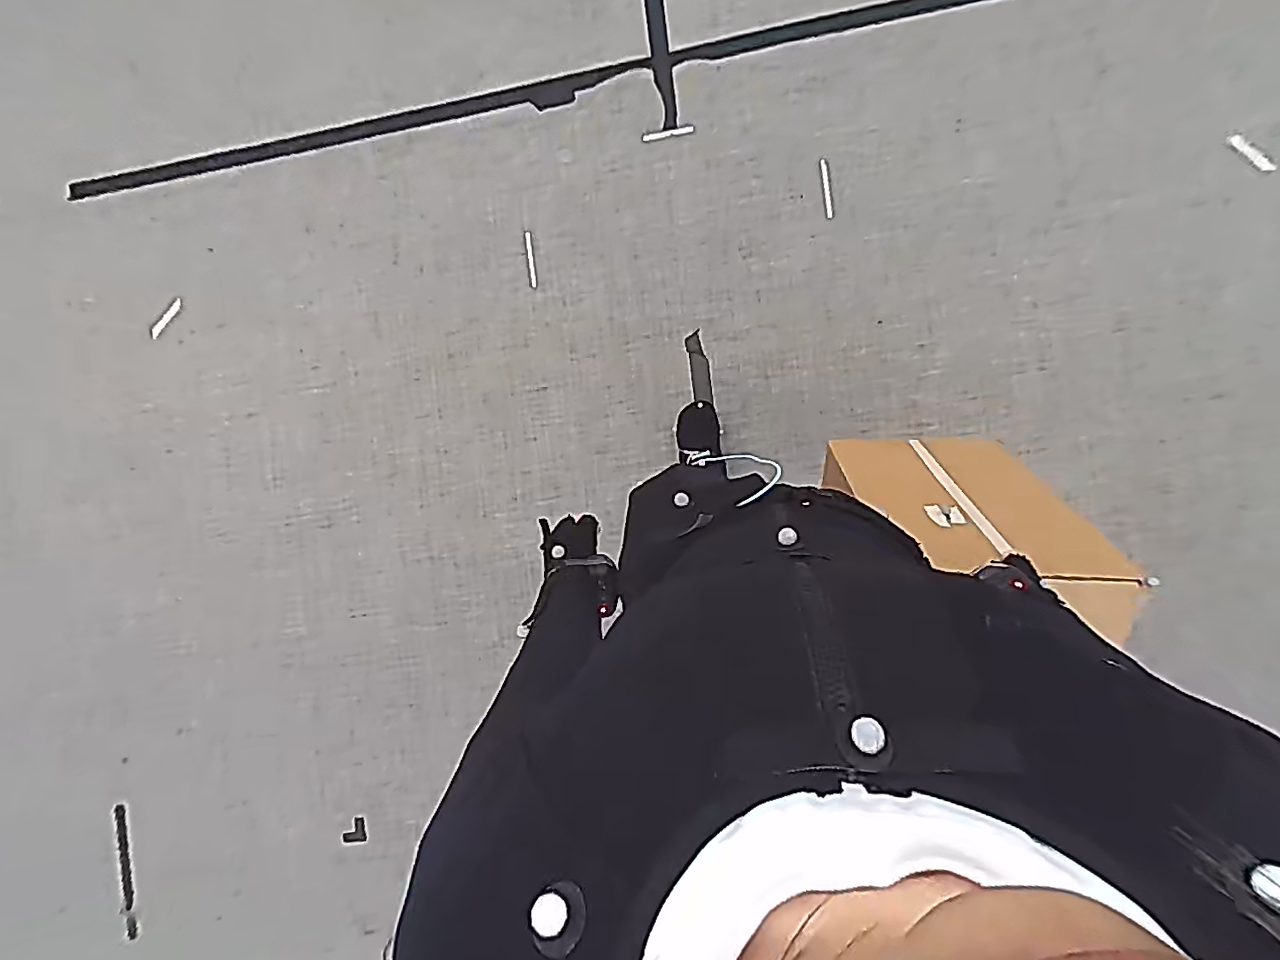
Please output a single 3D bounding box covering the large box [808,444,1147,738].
[{"bbox_3d":[0.502,0.165,0.933,0.320,0.408,0.320,0,120,5],"label":"large box"}]
